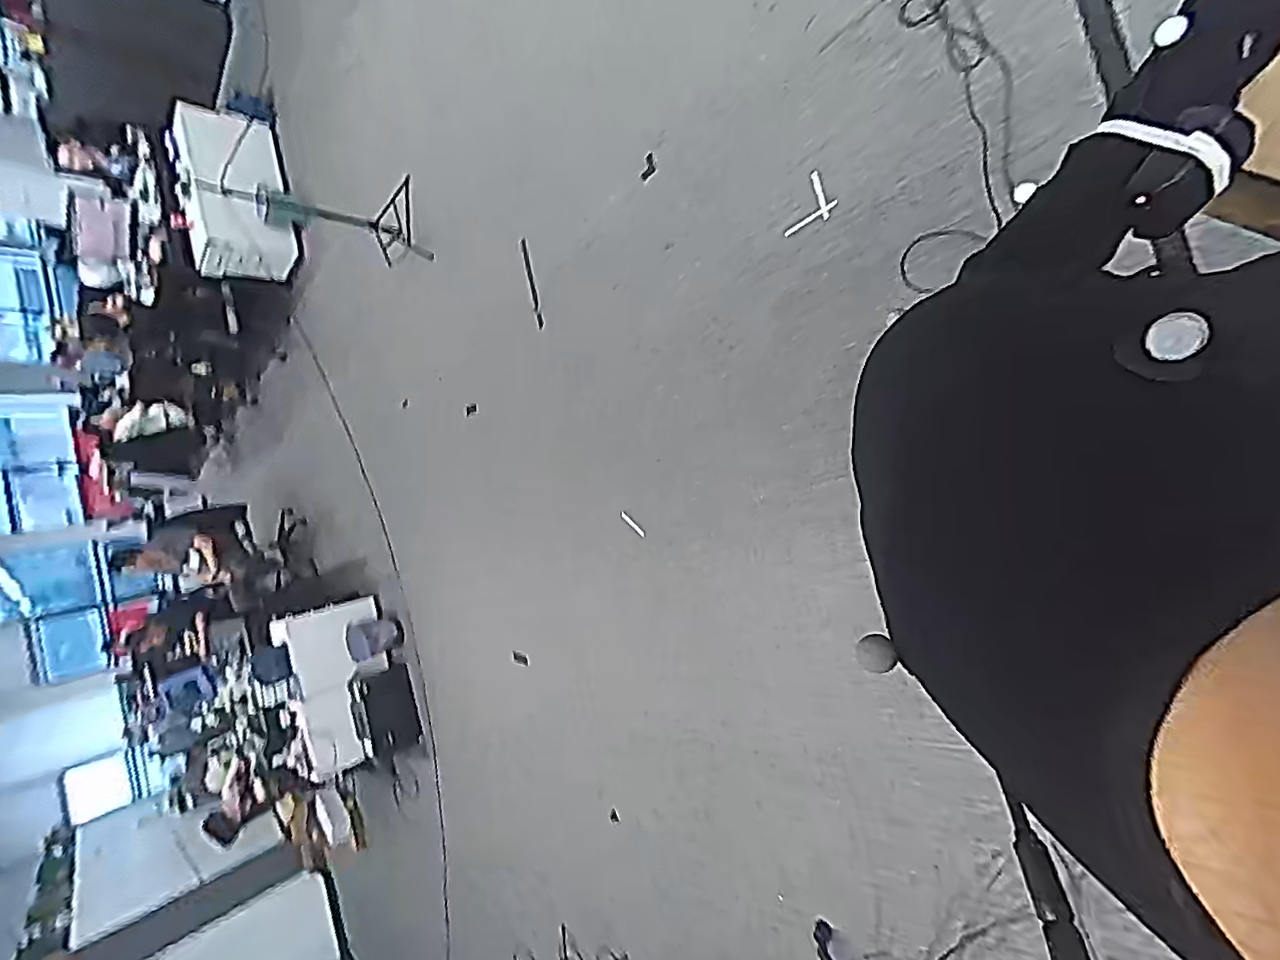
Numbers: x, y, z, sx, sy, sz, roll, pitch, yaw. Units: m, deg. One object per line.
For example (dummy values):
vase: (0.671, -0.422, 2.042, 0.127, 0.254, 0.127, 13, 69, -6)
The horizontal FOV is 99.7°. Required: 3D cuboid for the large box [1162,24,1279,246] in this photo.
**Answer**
large box: (0.685, -0.286, 0.350, 0.408, 0.320, 0.320, 39, 128, 25)
